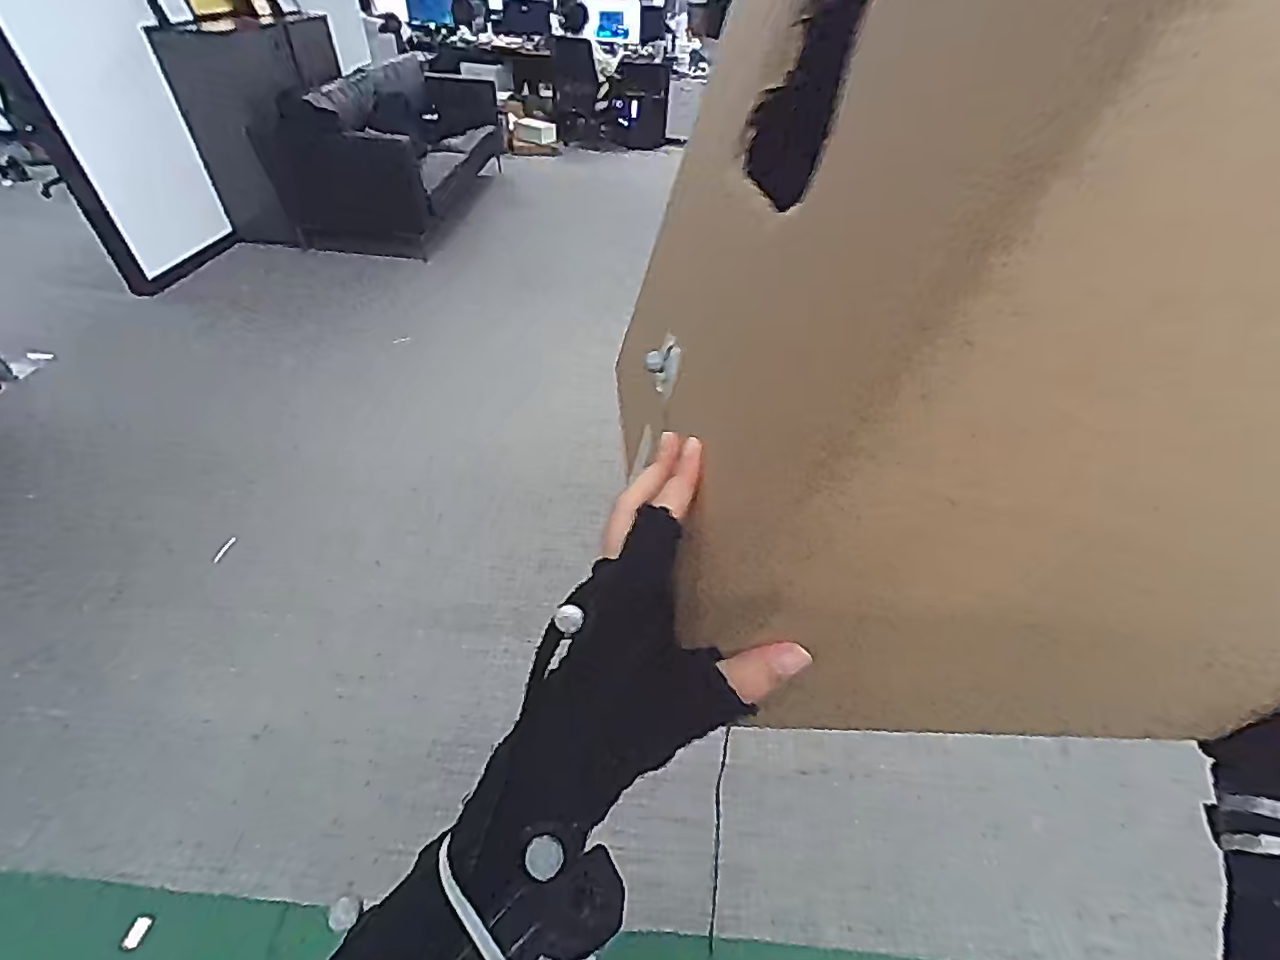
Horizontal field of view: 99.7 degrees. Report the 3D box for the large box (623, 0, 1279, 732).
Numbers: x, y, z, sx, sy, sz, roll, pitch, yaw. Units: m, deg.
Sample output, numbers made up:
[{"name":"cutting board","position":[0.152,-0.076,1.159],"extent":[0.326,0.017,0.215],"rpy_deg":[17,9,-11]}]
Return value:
[{"name":"large box","position":[0.235,-0.061,0.332],"extent":[0.408,0.320,0.320],"rpy_deg":[10,42,-18]}]
